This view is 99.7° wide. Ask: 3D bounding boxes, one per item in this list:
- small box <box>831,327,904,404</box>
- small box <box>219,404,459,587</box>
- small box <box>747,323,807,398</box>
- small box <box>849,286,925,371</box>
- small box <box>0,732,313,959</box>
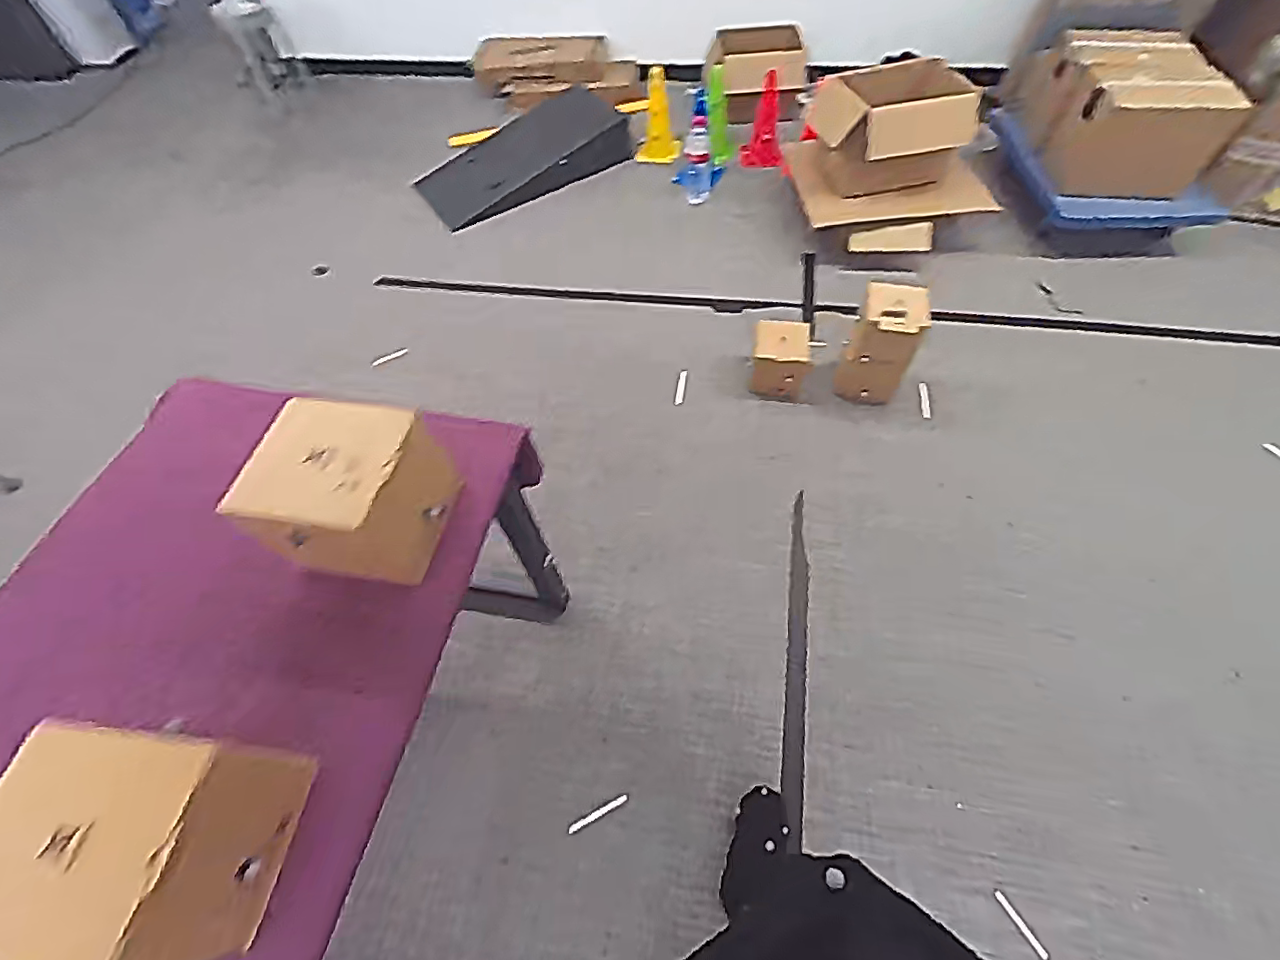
[{"bbox_3d":[0.741,-0.367,1.761,0.179,0.176,0.168,12,59,9],"label":"small box"},{"bbox_3d":[-0.362,0.025,0.691,0.179,0.176,0.168,7,59,7],"label":"small box"},{"bbox_3d":[0.452,-0.392,1.791,0.168,0.176,0.179,7,57,6],"label":"small box"},{"bbox_3d":[0.736,-0.451,1.618,0.168,0.176,0.179,10,58,9],"label":"small box"},{"bbox_3d":[-0.452,0.341,0.494,0.179,0.176,0.168,4,58,5],"label":"small box"}]
